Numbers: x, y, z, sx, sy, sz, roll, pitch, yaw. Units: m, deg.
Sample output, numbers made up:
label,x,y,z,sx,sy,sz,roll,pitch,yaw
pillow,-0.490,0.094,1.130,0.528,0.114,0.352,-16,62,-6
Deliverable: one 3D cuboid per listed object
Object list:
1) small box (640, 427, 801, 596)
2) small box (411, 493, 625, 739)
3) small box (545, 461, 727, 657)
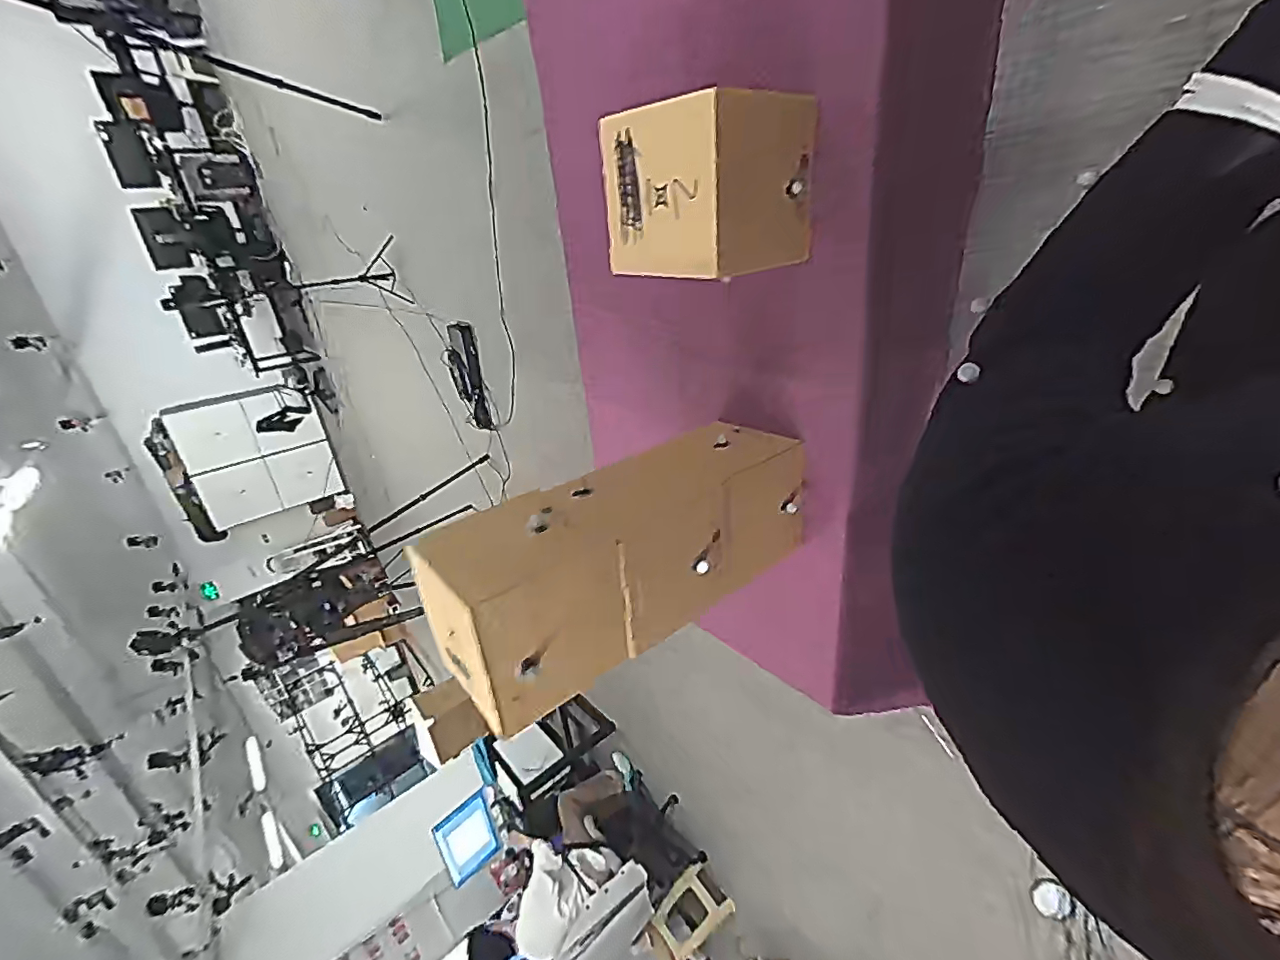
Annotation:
label,x,y,z,sx,sy,sz,roll,pitch,yaw
small box,0.122,0.033,0.799,0.168,0.176,0.179,21,126,46
small box,-0.131,0.140,0.615,0.168,0.176,0.179,24,128,44
small box,-0.006,0.088,0.709,0.179,0.176,0.168,22,128,45
